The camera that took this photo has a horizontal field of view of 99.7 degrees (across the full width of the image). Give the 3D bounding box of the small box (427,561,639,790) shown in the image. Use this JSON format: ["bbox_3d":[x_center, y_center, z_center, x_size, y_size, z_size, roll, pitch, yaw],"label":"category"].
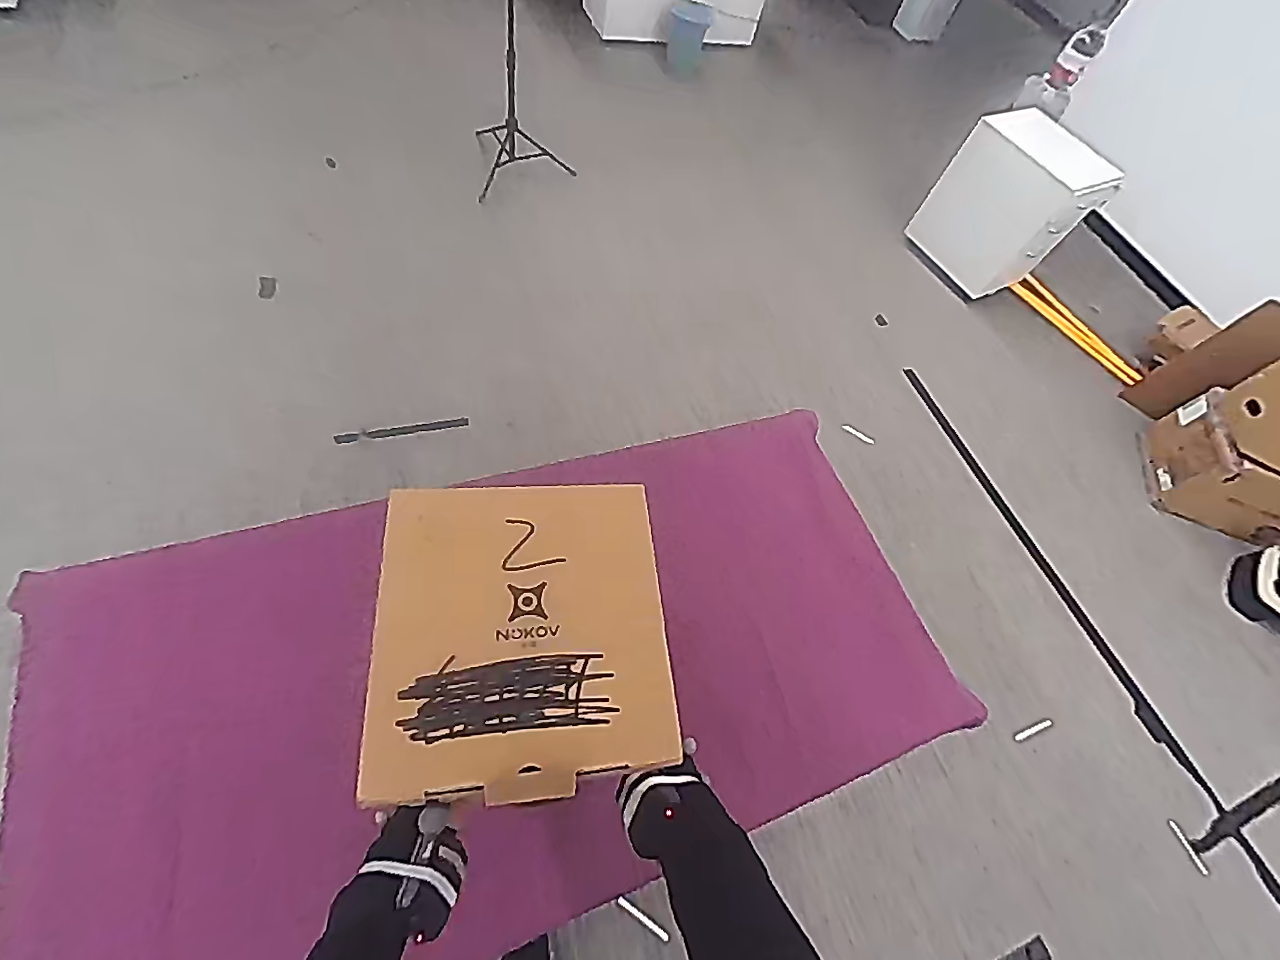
[{"bbox_3d":[-0.104,0.193,0.527,0.168,0.176,0.179,-2,61,-12],"label":"small box"}]
